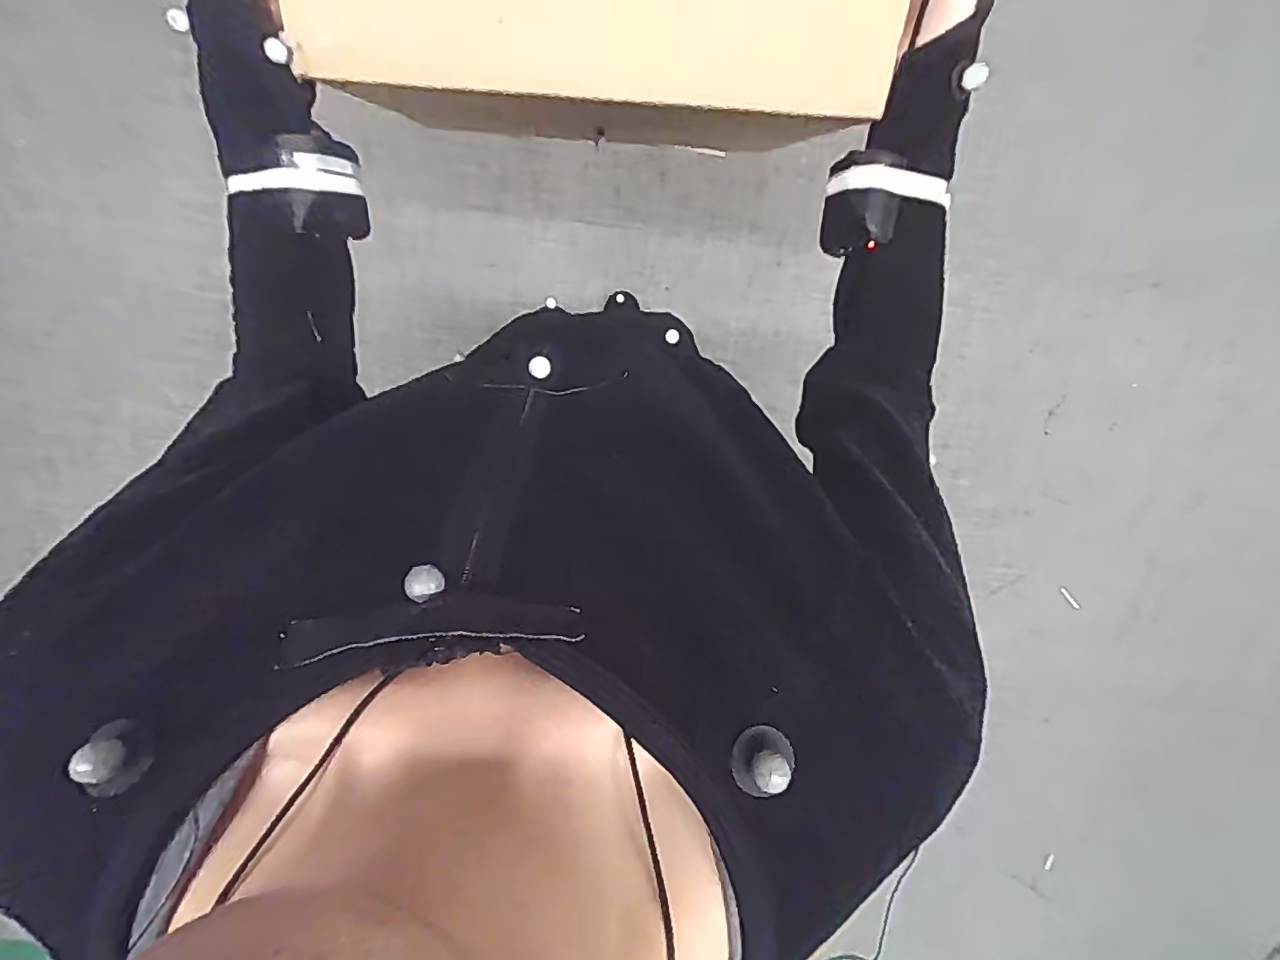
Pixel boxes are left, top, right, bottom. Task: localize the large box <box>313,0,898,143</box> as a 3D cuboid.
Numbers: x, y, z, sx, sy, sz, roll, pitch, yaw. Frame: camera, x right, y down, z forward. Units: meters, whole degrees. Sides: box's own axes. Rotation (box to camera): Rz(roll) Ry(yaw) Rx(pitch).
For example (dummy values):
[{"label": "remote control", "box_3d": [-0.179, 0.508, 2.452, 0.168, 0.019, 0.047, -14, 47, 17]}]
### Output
[{"label": "large box", "box_3d": [-0.022, -0.478, 0.453, 0.408, 0.320, 0.320, 1, 117, -4]}]
